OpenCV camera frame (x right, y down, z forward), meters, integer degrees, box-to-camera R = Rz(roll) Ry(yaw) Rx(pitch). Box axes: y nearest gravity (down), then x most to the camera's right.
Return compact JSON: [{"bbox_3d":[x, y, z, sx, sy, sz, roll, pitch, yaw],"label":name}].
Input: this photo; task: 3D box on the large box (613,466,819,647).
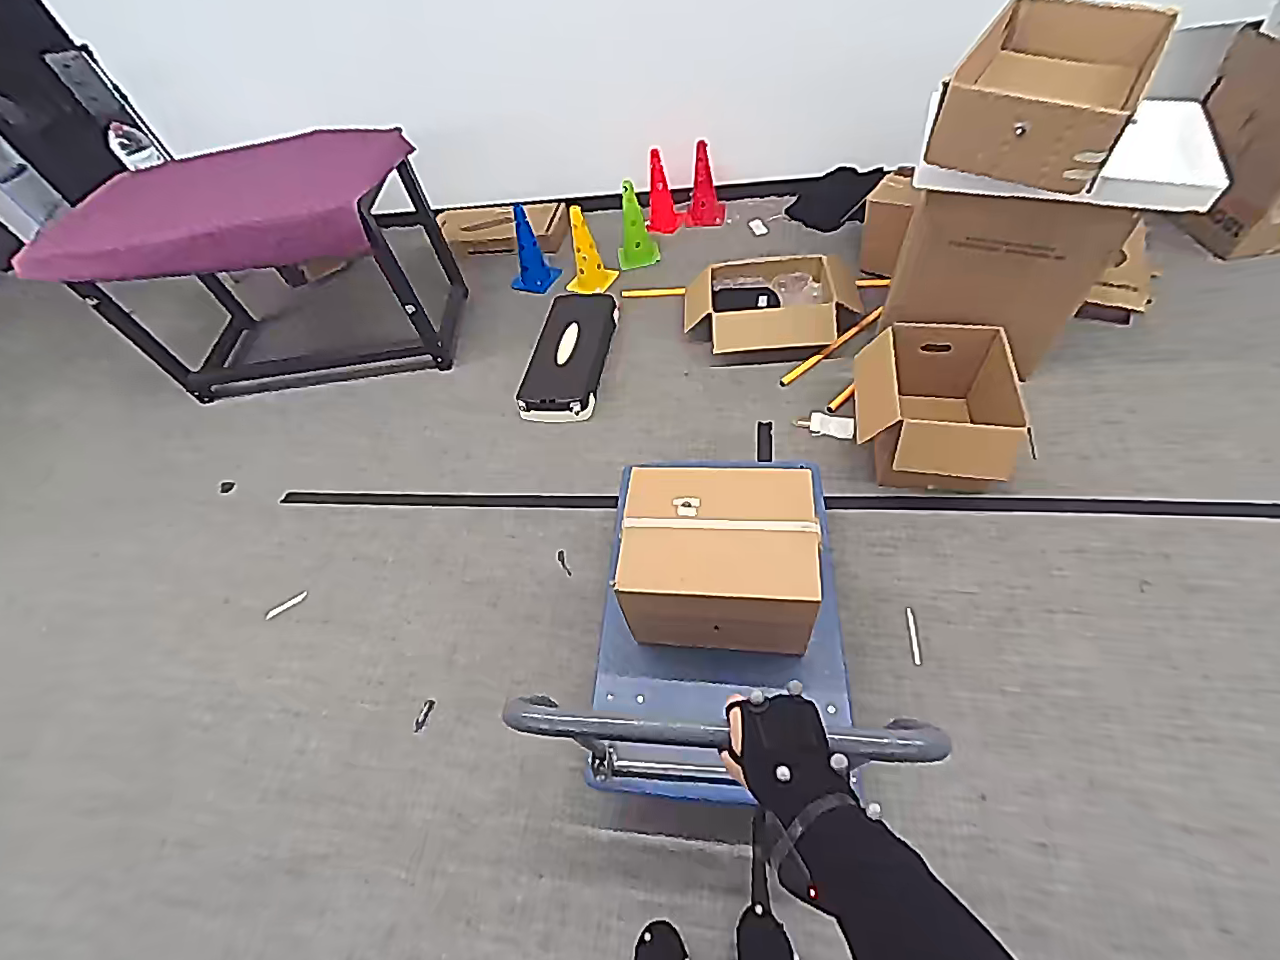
[{"bbox_3d":[0.178,0.183,1.250,0.408,0.320,0.320,0,53,11],"label":"large box"}]
